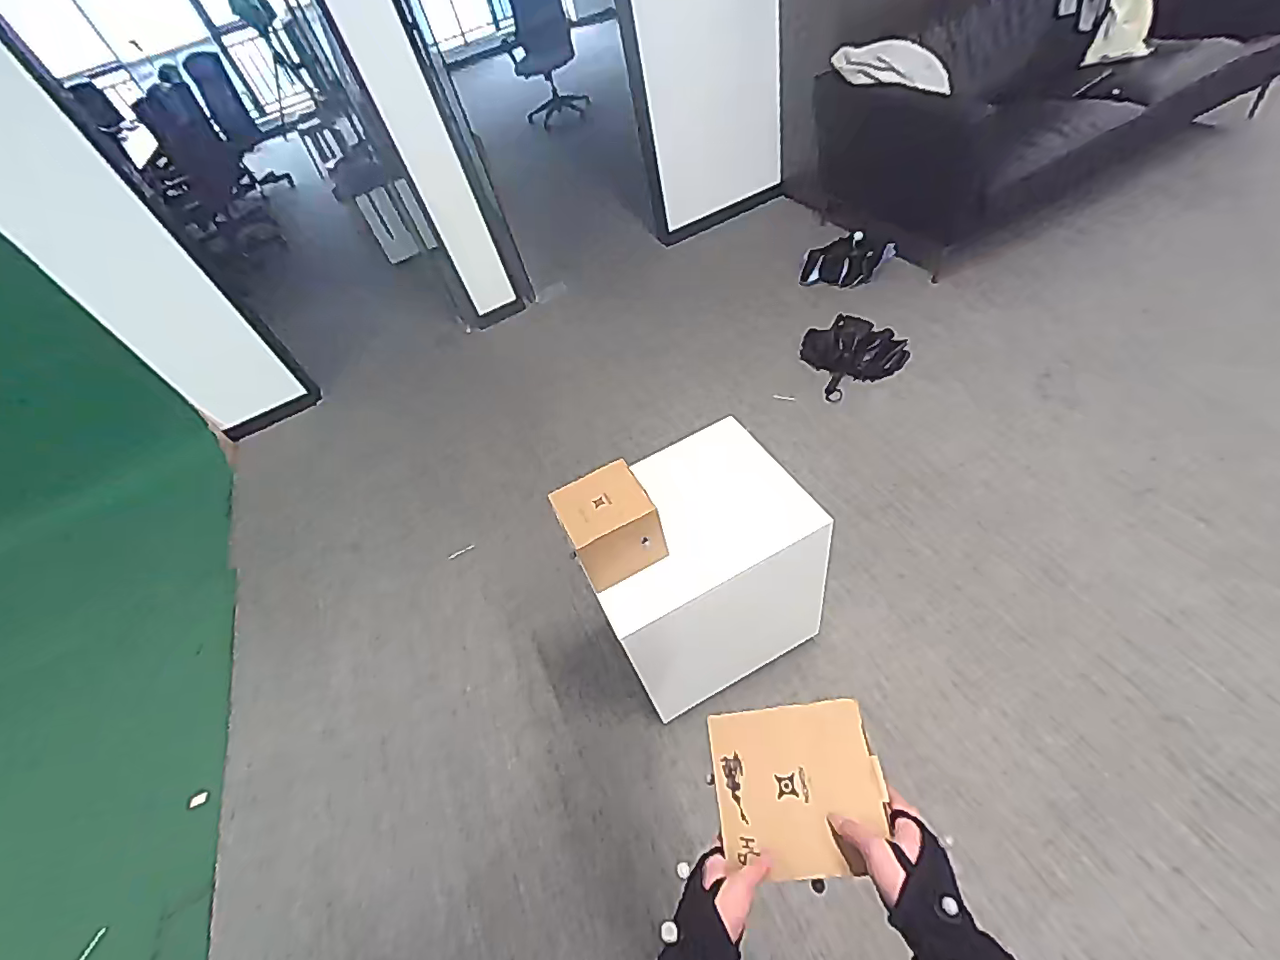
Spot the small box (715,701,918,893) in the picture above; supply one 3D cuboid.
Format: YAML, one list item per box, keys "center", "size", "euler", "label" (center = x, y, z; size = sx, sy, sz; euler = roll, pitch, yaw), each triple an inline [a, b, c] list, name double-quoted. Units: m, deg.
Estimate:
- center: [0.191, 0.371, 0.633]
  size: [0.179, 0.176, 0.168]
  euler: [-11, 53, 8]
  label: "small box"

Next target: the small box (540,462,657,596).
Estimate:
- center: [-0.077, 0.102, 1.102]
  size: [0.179, 0.176, 0.168]
  euler: [-27, 48, -13]
  label: "small box"
